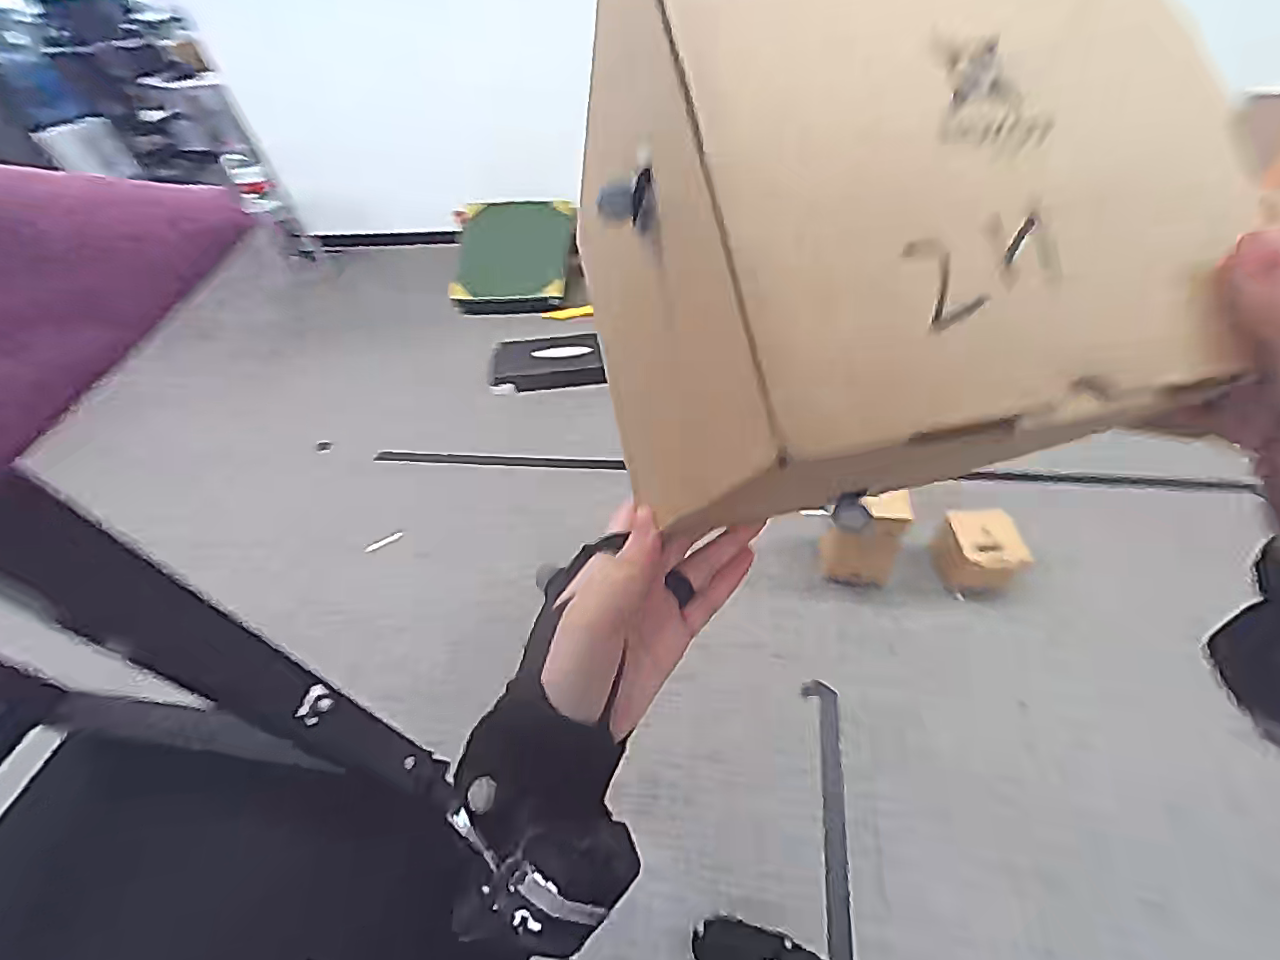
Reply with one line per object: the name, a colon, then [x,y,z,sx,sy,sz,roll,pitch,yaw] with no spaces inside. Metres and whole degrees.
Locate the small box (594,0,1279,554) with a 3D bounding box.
small box: [0.080,-0.076,0.216,0.168,0.176,0.179,-9,79,-11]

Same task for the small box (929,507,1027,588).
small box: [0.970,0.200,1.567,0.168,0.176,0.179,-2,48,6]

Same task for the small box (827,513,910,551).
small box: [0.620,0.084,1.496,0.179,0.176,0.168,1,49,9]

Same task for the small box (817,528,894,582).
small box: [0.638,0.190,1.619,0.179,0.176,0.168,3,49,10]
